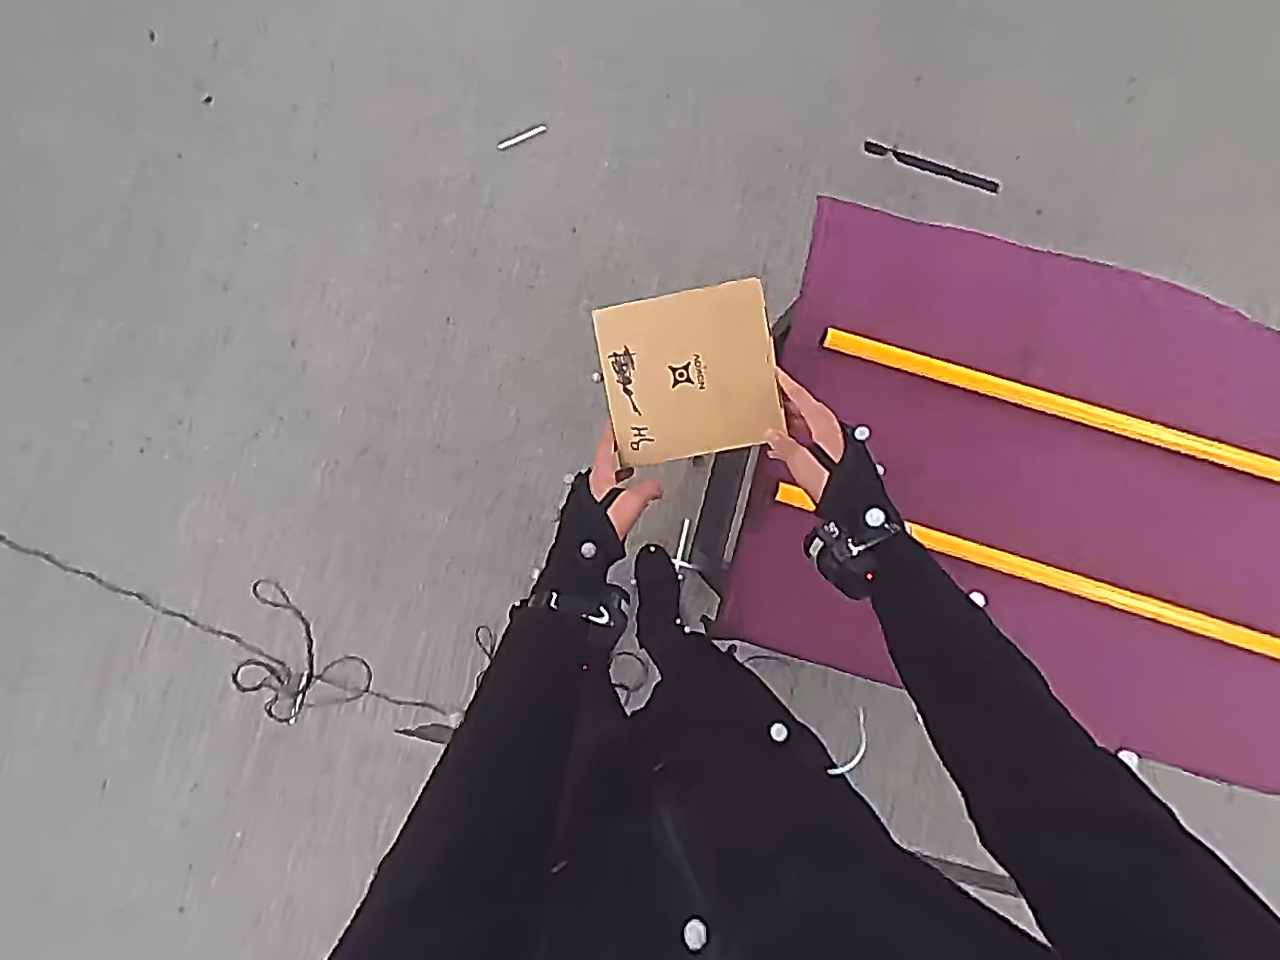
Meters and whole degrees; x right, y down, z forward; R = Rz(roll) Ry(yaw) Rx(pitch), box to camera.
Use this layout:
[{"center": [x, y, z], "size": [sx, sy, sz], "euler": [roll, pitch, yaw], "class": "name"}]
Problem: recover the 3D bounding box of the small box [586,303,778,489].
[{"center": [0.045, -0.091, 0.631], "size": [0.179, 0.176, 0.168], "euler": [-11, 93, 3], "class": "small box"}]
